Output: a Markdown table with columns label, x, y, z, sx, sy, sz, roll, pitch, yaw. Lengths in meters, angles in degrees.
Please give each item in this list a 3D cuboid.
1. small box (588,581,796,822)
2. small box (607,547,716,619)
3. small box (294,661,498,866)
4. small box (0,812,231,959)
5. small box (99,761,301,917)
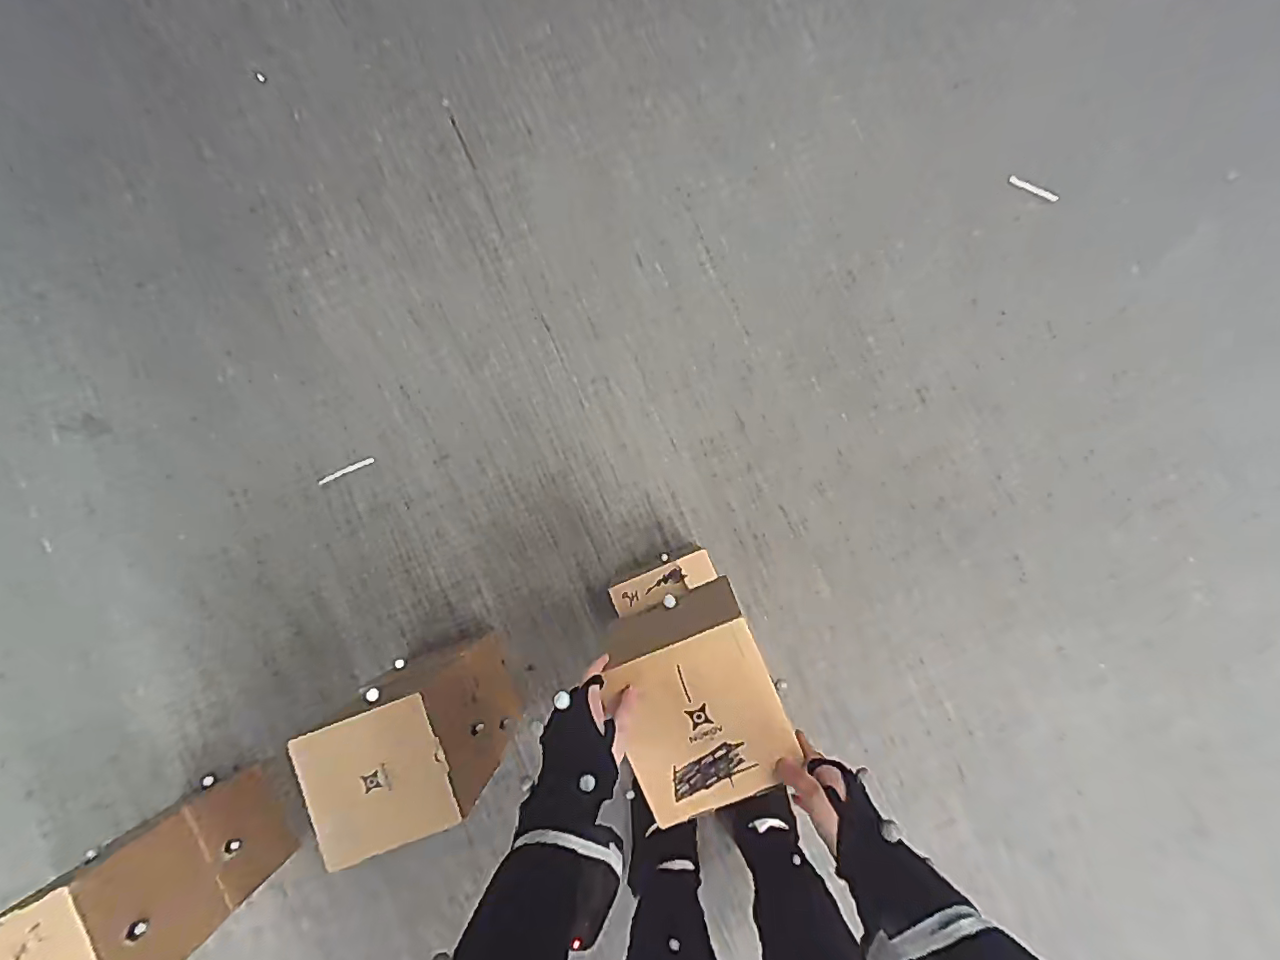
| label | x | y | z | sx | sy | sz | roll | pitch | yaw |
| --- | --- | --- | --- | --- | --- | --- | --- | --- | --- |
| small box | 0.060 | 0.240 | 0.629 | 0.168 | 0.176 | 0.179 | -23 | 91 | 5 |
| small box | 0.055 | 0.225 | 0.915 | 0.168 | 0.176 | 0.179 | -22 | 87 | -2 |
| small box | -0.321 | 0.372 | 0.743 | 0.179 | 0.176 | 0.168 | -21 | 86 | -1 |
| small box | -0.711 | 0.603 | 0.730 | 0.168 | 0.176 | 0.179 | -27 | 86 | -3 |
| small box | -0.710 | 0.610 | 0.895 | 0.168 | 0.176 | 0.179 | -26 | 86 | -2 |
